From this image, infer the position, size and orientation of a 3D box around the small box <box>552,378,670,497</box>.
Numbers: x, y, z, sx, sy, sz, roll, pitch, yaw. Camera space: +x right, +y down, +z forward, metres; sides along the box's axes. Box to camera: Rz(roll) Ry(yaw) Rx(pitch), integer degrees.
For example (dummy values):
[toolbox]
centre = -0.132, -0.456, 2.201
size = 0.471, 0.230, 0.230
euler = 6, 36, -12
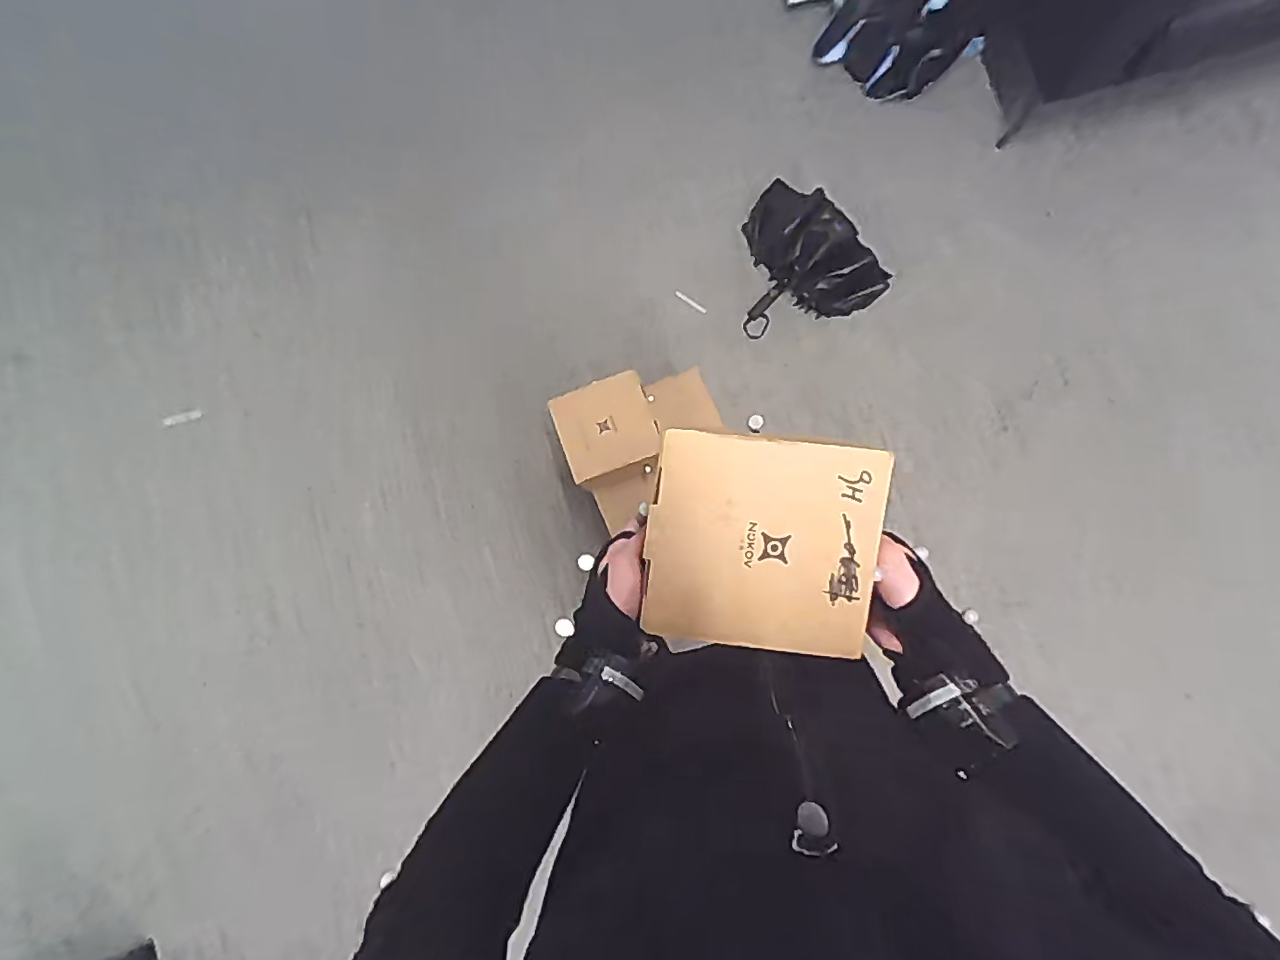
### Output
[small box]
centre = -0.049, -0.075, 1.058
size = 0.179, 0.176, 0.168
euler = -21, 82, 3
